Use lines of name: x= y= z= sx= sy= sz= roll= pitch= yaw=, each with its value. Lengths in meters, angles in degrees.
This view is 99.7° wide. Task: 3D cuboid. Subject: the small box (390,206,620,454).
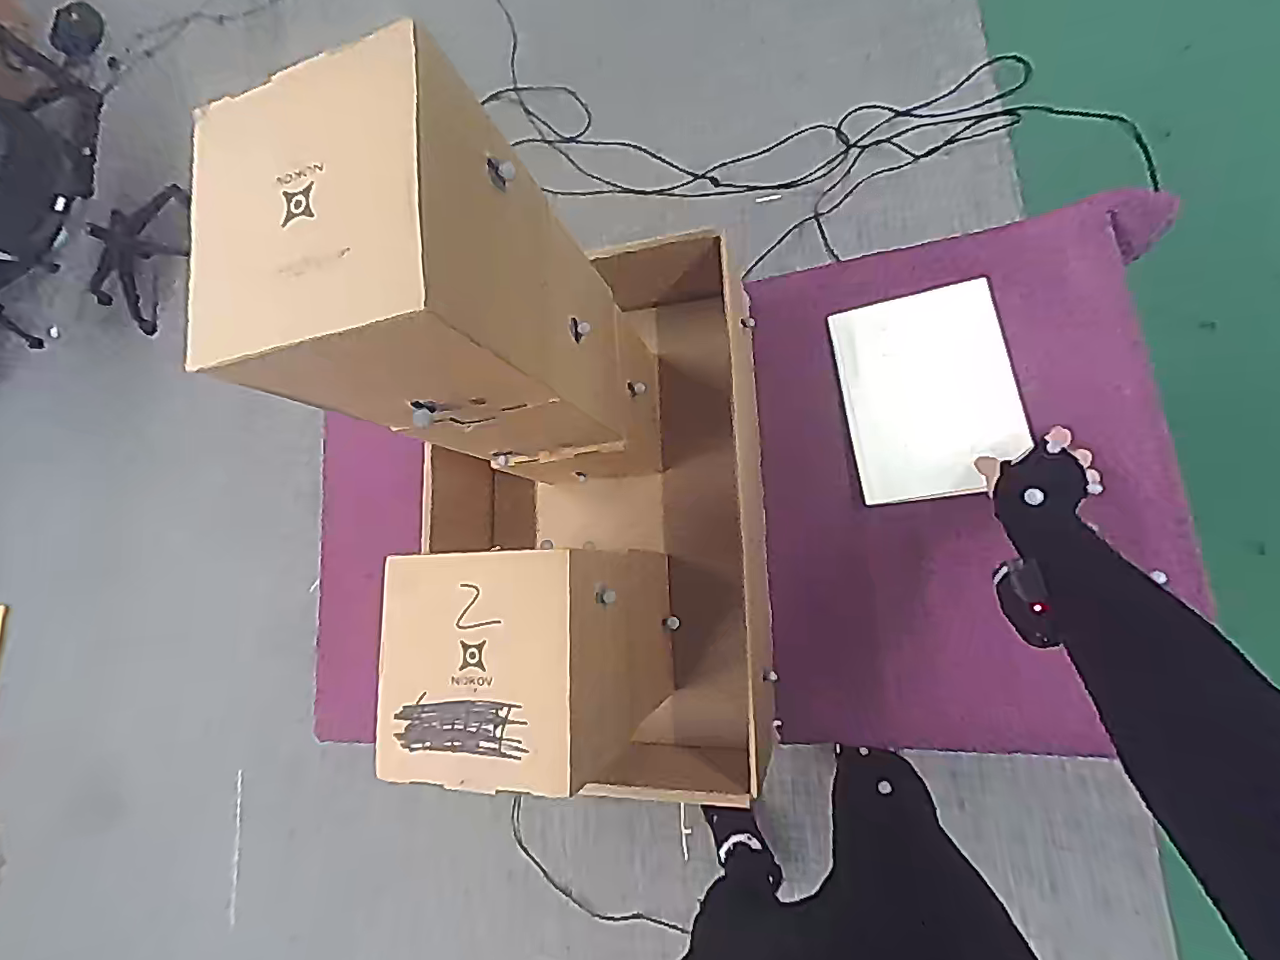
small box: x=-0.125 y=-0.127 z=0.541 sx=0.168 sy=0.176 sz=0.179 roll=-8 pitch=80 yaw=15

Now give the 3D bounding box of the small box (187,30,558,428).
small box: x=-0.169 y=-0.149 z=0.386 sx=0.168 sy=0.176 sz=0.179 roll=-7 pitch=81 yaw=16

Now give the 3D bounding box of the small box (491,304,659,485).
small box: x=-0.078 y=-0.097 z=0.695 sx=0.168 sy=0.176 sz=0.179 roll=-7 pitch=81 yaw=15
